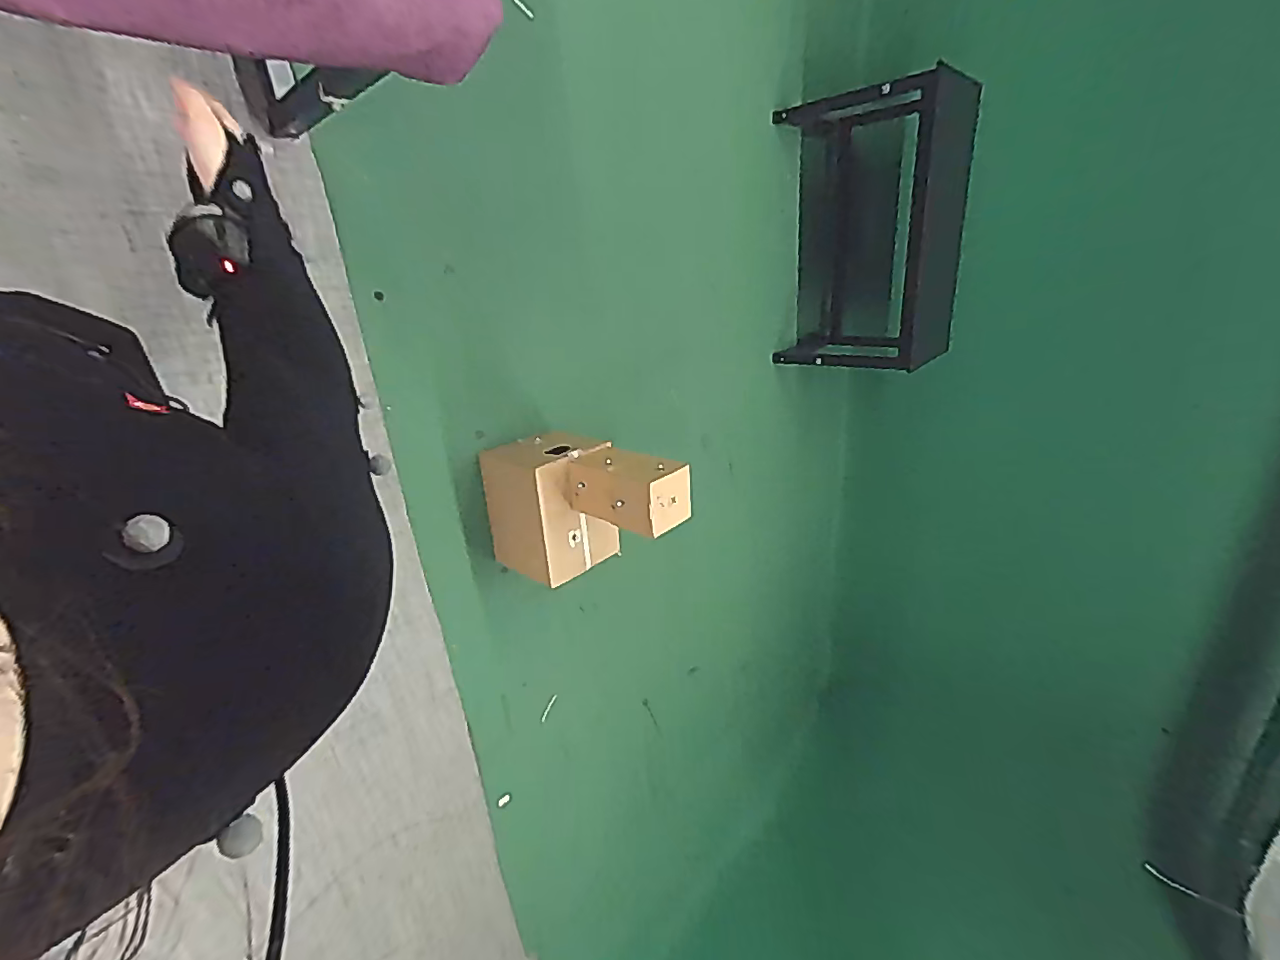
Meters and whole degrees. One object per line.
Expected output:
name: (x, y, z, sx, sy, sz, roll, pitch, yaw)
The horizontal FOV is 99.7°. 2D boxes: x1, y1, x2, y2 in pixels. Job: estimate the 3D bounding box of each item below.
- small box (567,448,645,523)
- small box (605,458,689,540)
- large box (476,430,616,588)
small box: (-0.099, 0.010, 1.648, 0.179, 0.176, 0.168, -24, 119, -43)
small box: (0.023, 0.045, 1.542, 0.179, 0.176, 0.168, -25, 119, -43)
large box: (-0.306, 0.078, 1.806, 0.320, 0.320, 0.408, -24, 119, -43)
